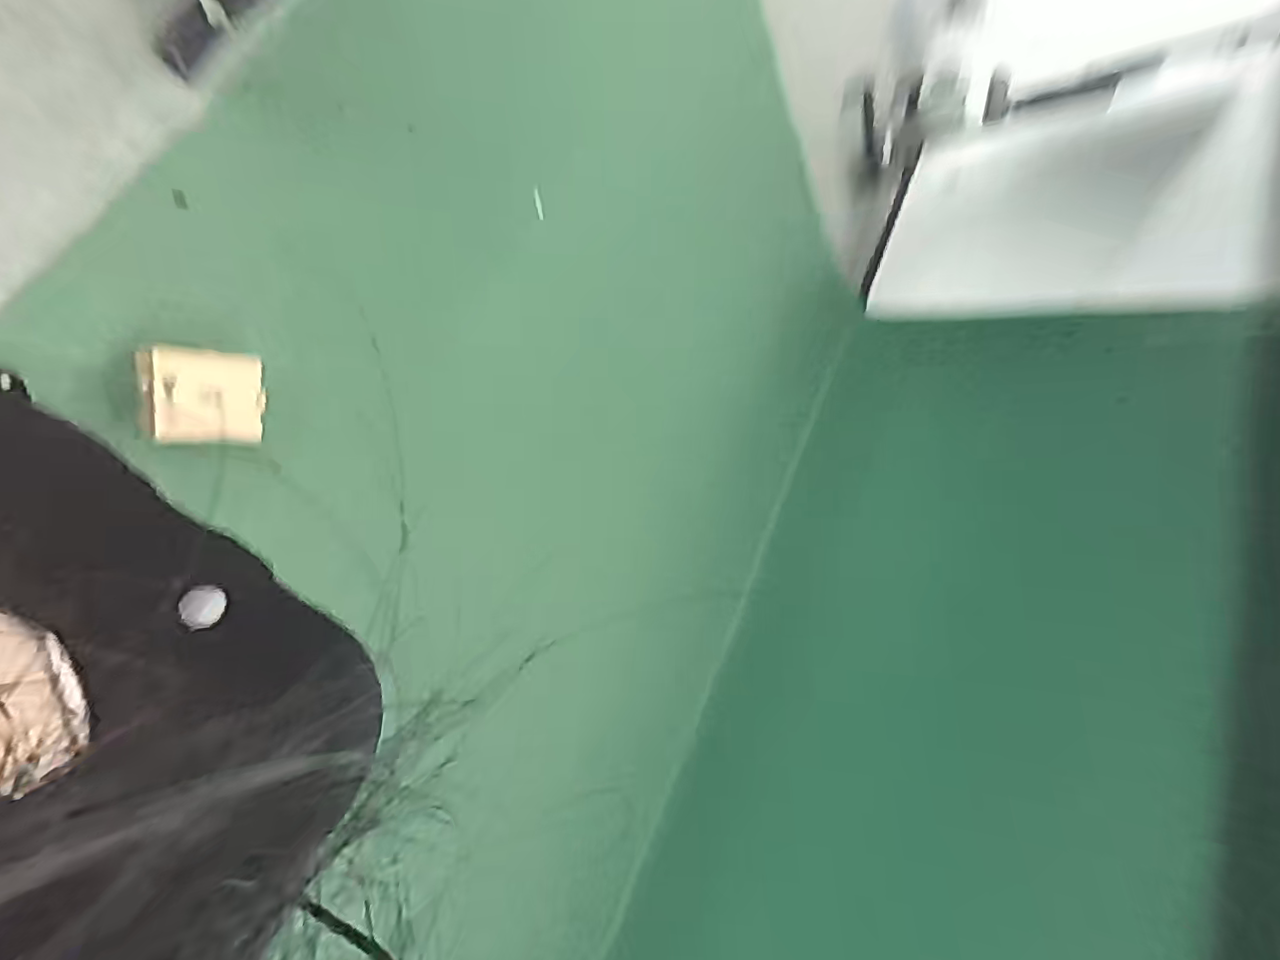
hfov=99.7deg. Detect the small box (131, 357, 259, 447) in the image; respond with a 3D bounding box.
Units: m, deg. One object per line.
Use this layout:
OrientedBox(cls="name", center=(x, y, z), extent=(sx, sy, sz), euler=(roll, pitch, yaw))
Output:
OrientedBox(cls="small box", center=(-0.922, -0.161, 1.122), extent=(0.179, 0.176, 0.168), euler=(-3, 101, -51))
